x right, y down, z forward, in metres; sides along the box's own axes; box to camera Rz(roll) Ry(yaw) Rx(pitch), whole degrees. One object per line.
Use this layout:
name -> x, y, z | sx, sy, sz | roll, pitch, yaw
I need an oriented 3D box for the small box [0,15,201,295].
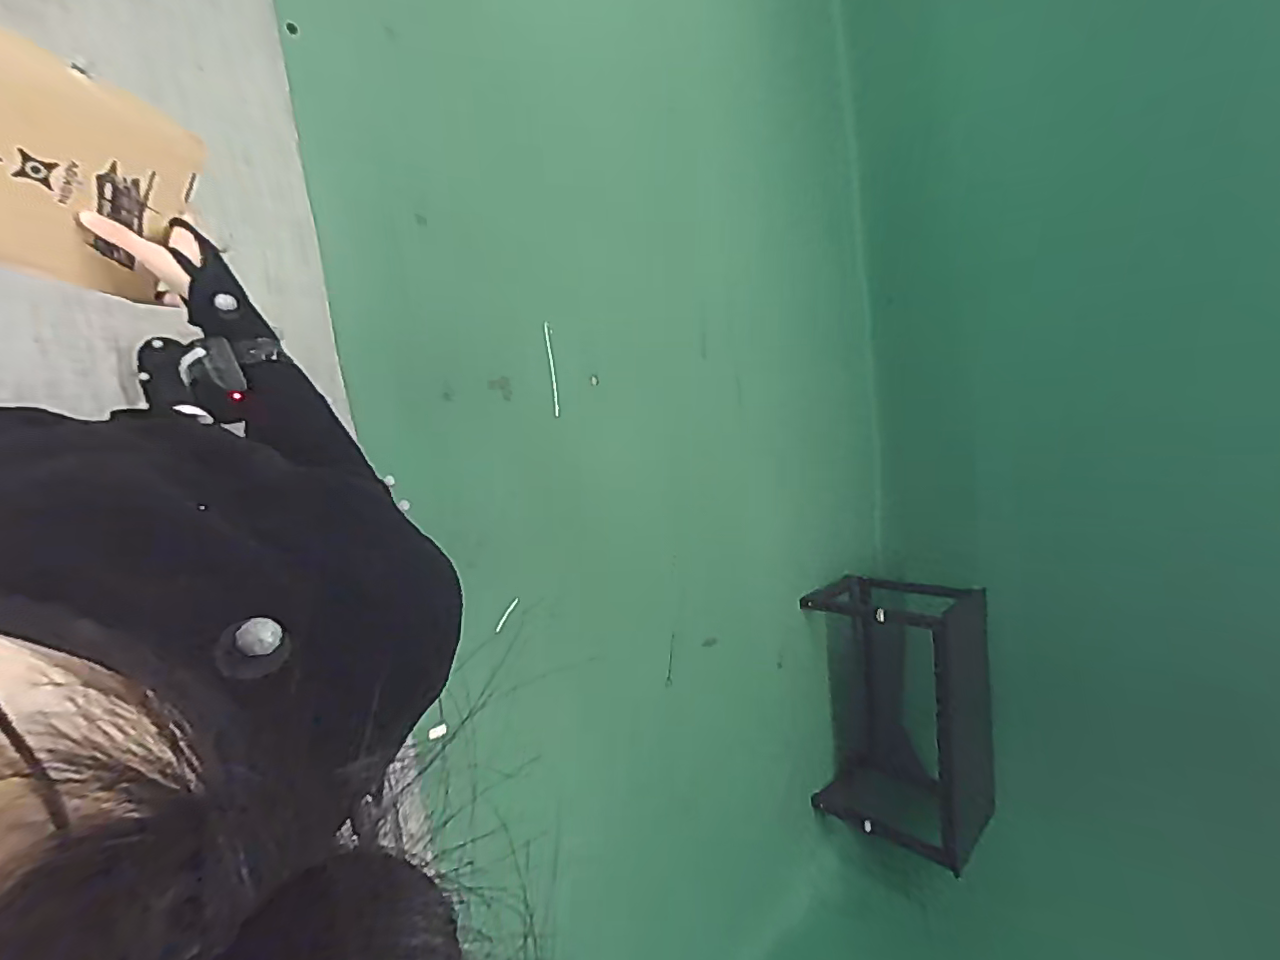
small box -> -0.530, -0.288, 0.451 | 0.168, 0.176, 0.179 | -60, 159, 11
